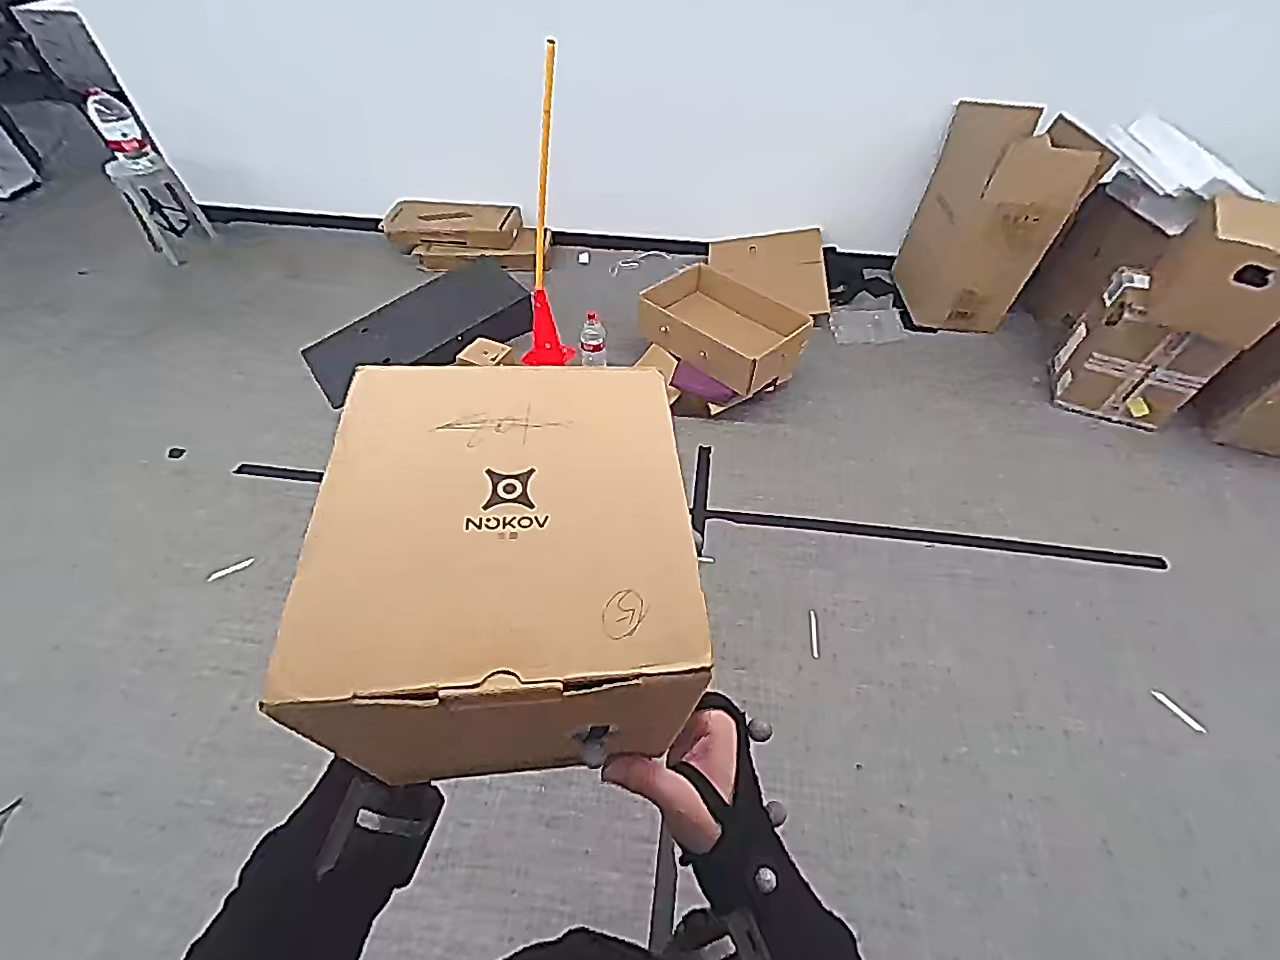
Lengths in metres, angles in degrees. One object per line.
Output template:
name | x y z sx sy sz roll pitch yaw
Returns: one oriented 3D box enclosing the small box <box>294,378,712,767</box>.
small box | -0.066 0.060 0.323 0.168 0.176 0.179 -2 53 -10
